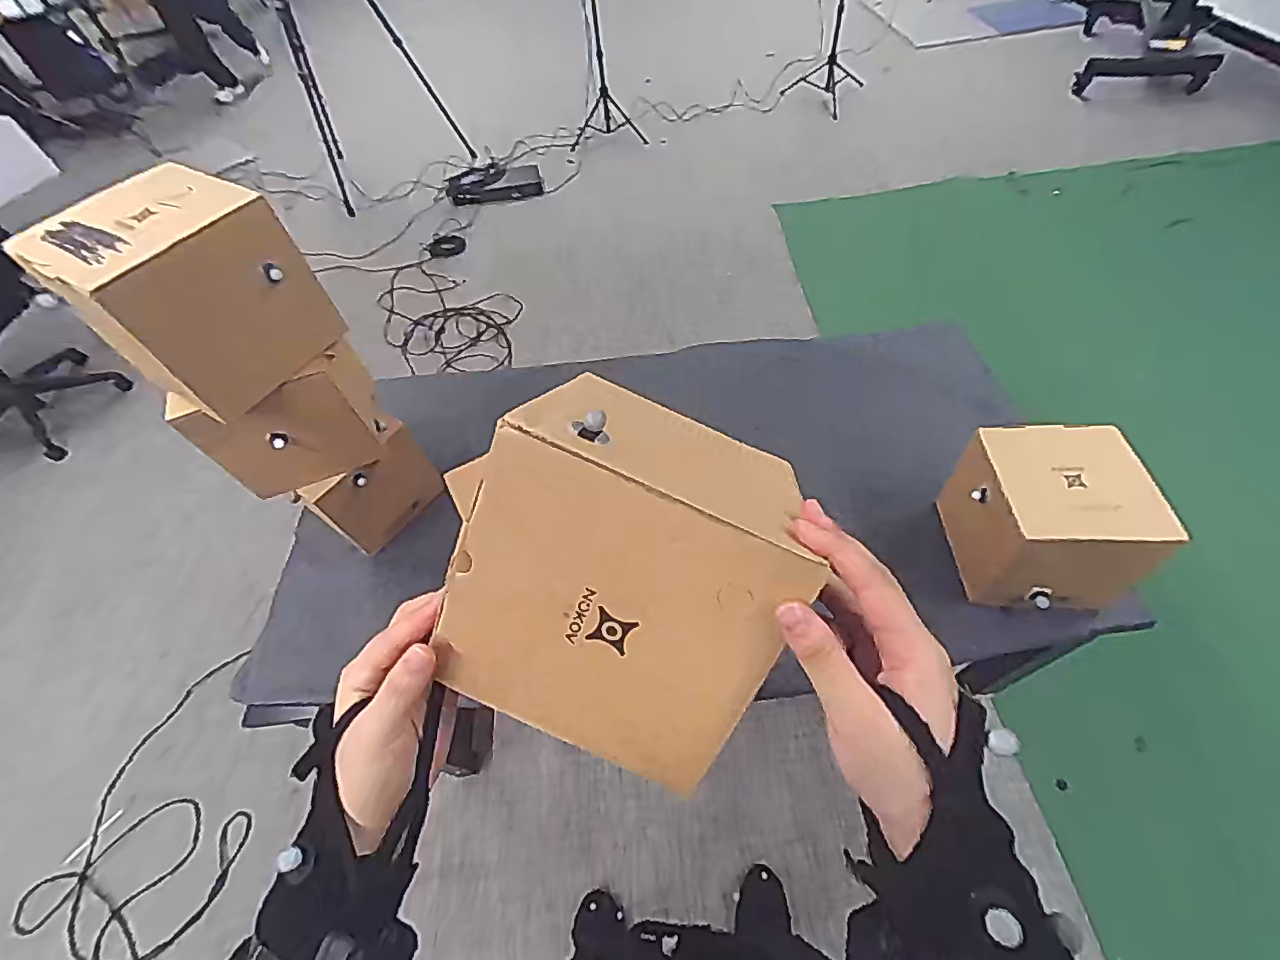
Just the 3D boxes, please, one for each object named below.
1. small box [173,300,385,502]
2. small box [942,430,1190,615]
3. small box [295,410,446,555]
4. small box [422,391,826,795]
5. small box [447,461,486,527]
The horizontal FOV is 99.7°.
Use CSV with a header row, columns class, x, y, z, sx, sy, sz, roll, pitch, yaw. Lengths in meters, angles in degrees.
class,x,y,z,sx,sy,sz,roll,pitch,yaw
small box,-0.462,-0.101,0.720,0.179,0.176,0.168,-22,56,-9
small box,0.517,0.054,0.695,0.168,0.176,0.179,-1,51,8
small box,-0.448,-0.010,0.857,0.179,0.176,0.168,28,63,23
small box,-0.006,0.054,0.358,0.179,0.168,0.176,24,21,2
small box,-0.143,0.070,0.765,0.168,0.176,0.179,-27,56,-13
